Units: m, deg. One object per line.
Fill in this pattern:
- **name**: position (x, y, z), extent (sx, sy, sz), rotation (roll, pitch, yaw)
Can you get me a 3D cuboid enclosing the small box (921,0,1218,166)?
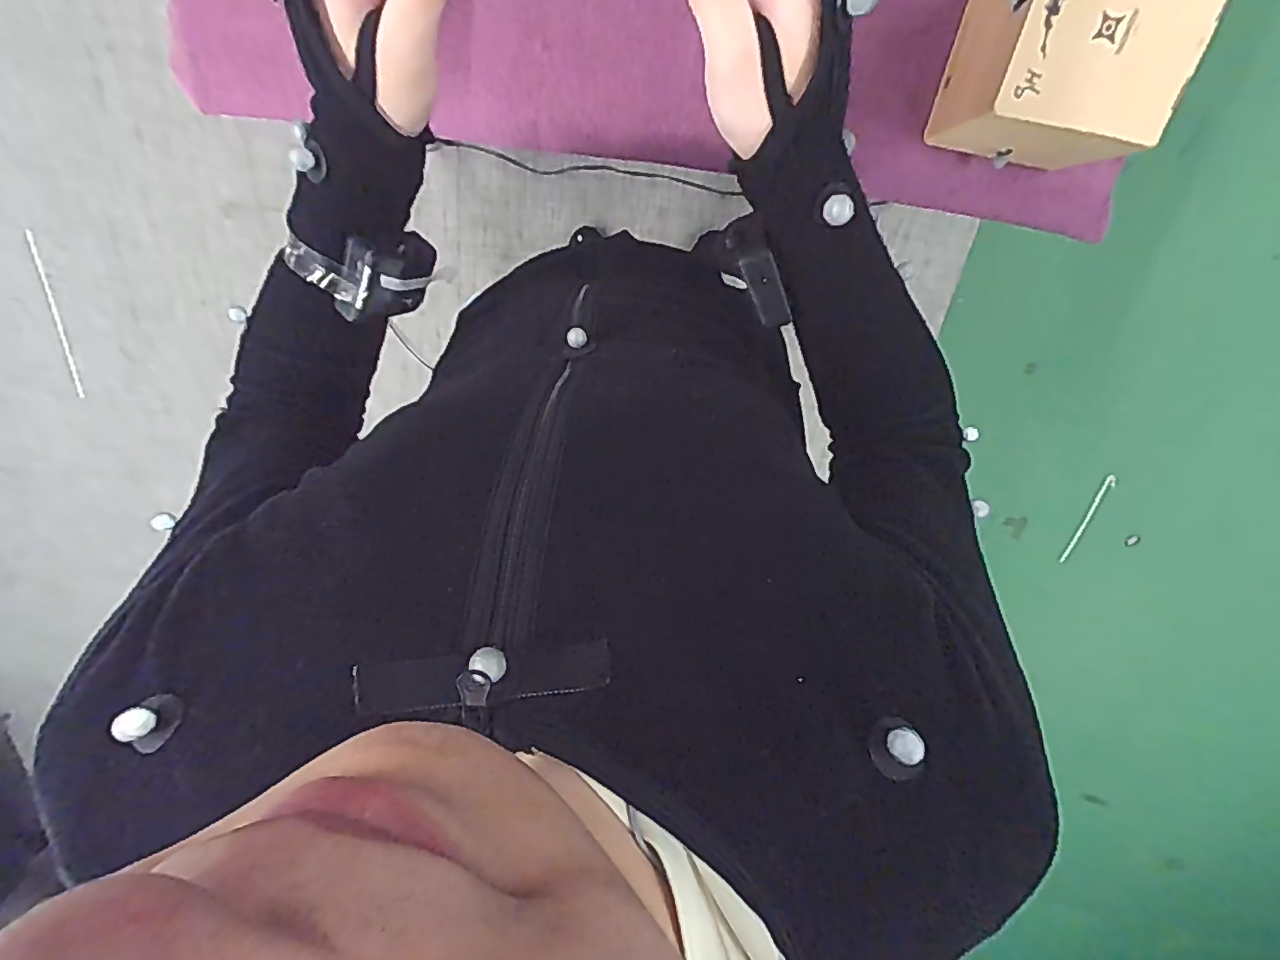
- **small box**: position (0.452, -0.458, 0.592), extent (0.179, 0.176, 0.168), rotation (11, 113, -2)
